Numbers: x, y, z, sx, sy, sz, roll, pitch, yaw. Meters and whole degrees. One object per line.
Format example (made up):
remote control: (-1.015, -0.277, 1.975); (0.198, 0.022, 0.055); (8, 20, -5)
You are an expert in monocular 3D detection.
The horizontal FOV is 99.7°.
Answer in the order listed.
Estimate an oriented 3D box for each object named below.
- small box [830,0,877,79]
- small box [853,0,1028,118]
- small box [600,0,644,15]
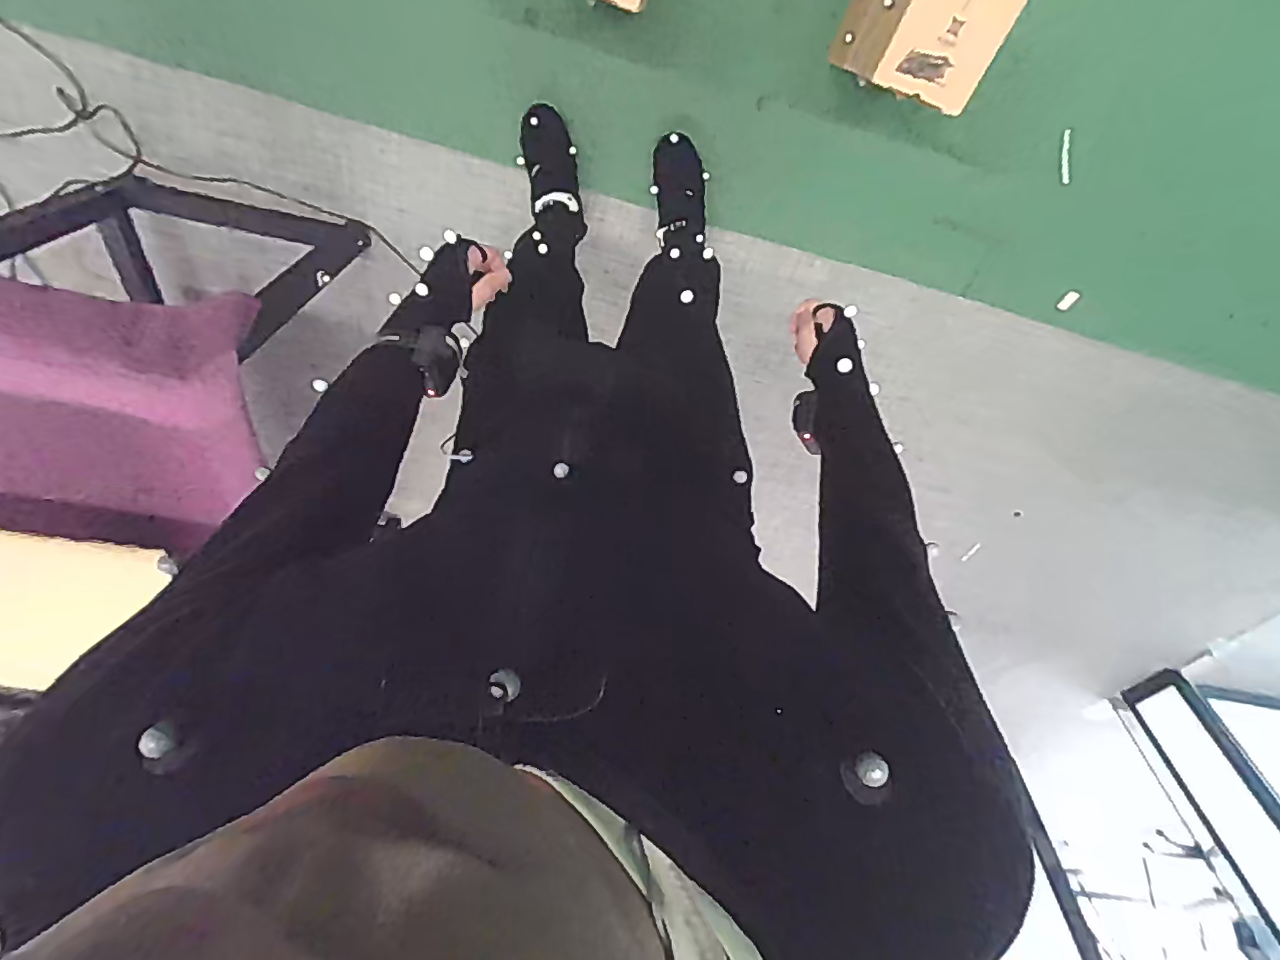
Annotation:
small box: (0.476, -0.842, 1.000); (0.168, 0.176, 0.179); (13, 133, -10)
small box: (0.472, -0.731, 0.880); (0.168, 0.176, 0.179); (13, 132, -11)
small box: (-0.053, -0.835, 0.806); (0.168, 0.176, 0.179); (15, 131, -10)
